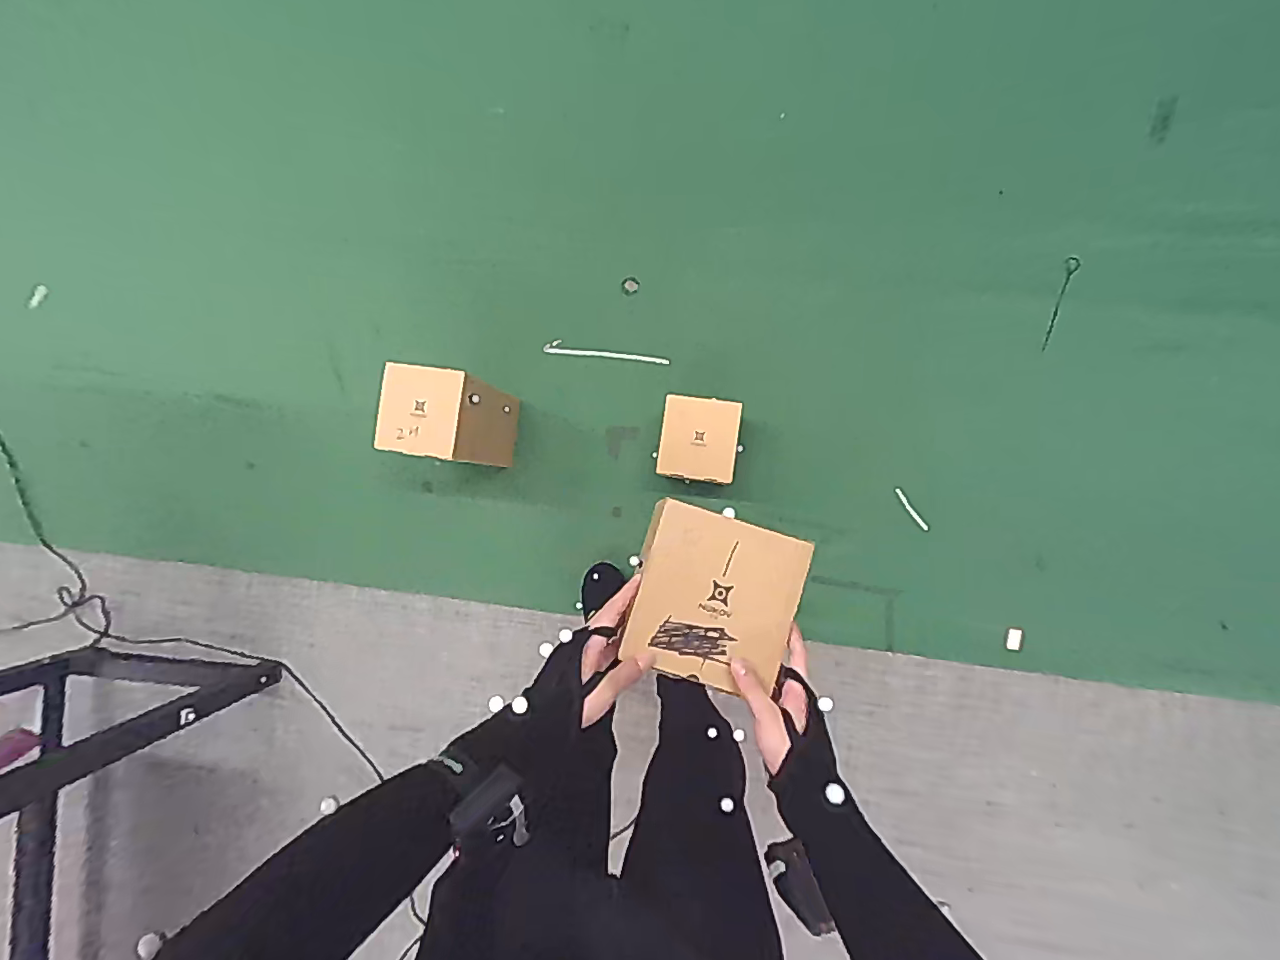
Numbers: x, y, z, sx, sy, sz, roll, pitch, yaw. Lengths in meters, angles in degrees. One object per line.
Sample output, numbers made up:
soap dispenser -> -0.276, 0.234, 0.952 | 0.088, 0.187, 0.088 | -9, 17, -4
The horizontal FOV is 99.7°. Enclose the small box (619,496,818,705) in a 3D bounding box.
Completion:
small box -> 0.081, 0.129, 0.636 | 0.168, 0.176, 0.179 | 18, 85, -1

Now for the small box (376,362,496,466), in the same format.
small box -> -0.413, -0.131, 1.127 | 0.168, 0.176, 0.179 | 9, 90, 7

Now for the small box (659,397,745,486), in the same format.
small box -> 0.139, -0.082, 1.237 | 0.168, 0.176, 0.179 | 8, 90, 5
